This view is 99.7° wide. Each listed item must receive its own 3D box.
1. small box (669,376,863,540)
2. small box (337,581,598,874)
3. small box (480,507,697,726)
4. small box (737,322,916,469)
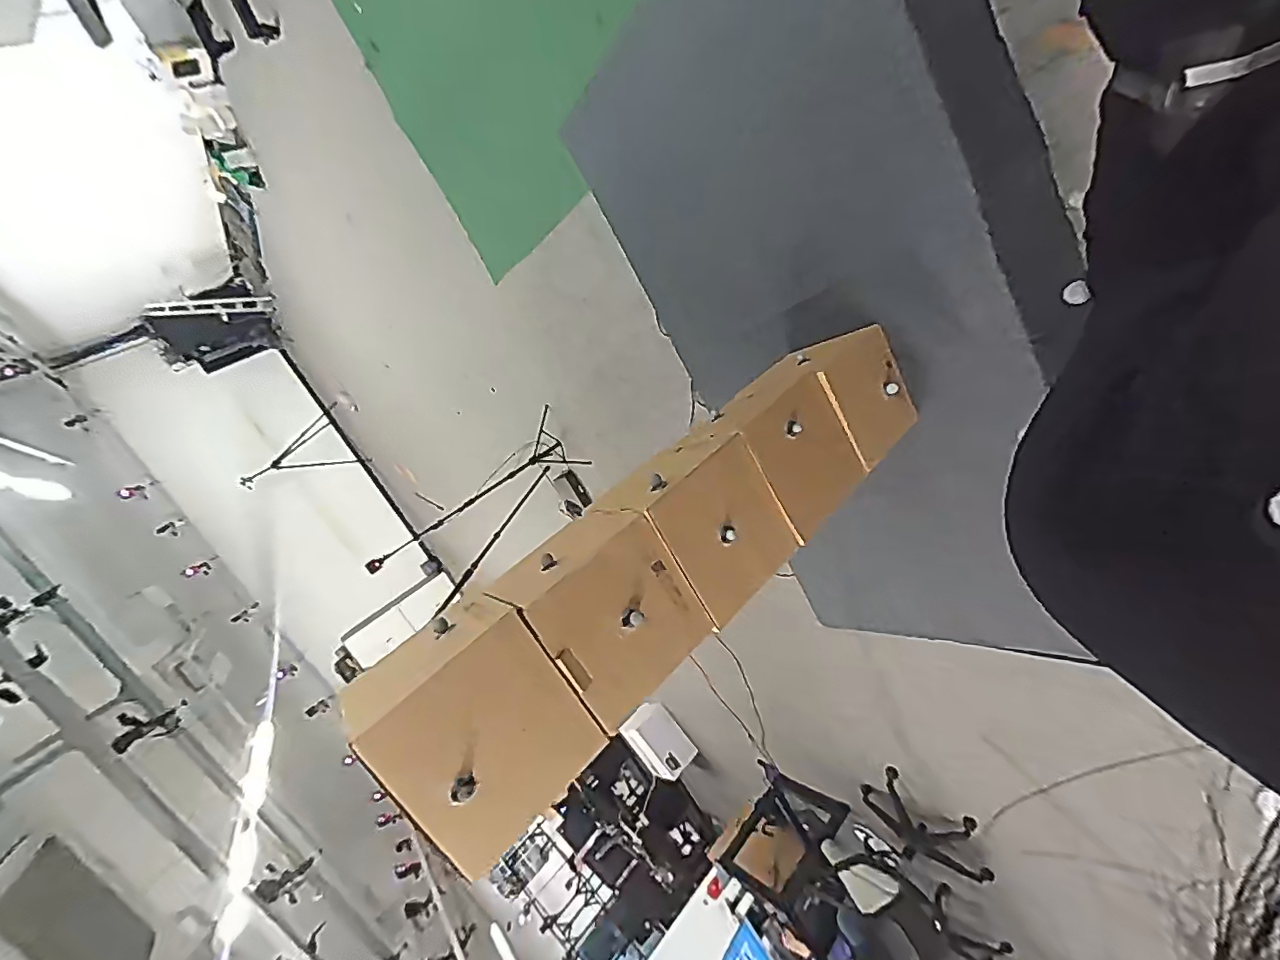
[{"bbox_3d":[0.180,-0.032,0.772,0.168,0.176,0.179,-11,113,59],"label":"small box"},{"bbox_3d":[-0.172,0.229,0.548,0.168,0.176,0.179,-8,116,58],"label":"small box"},{"bbox_3d":[-0.057,0.143,0.631,0.179,0.176,0.168,-10,113,58],"label":"small box"},{"bbox_3d":[0.292,-0.122,0.849,0.179,0.176,0.168,-8,115,56],"label":"small box"}]
